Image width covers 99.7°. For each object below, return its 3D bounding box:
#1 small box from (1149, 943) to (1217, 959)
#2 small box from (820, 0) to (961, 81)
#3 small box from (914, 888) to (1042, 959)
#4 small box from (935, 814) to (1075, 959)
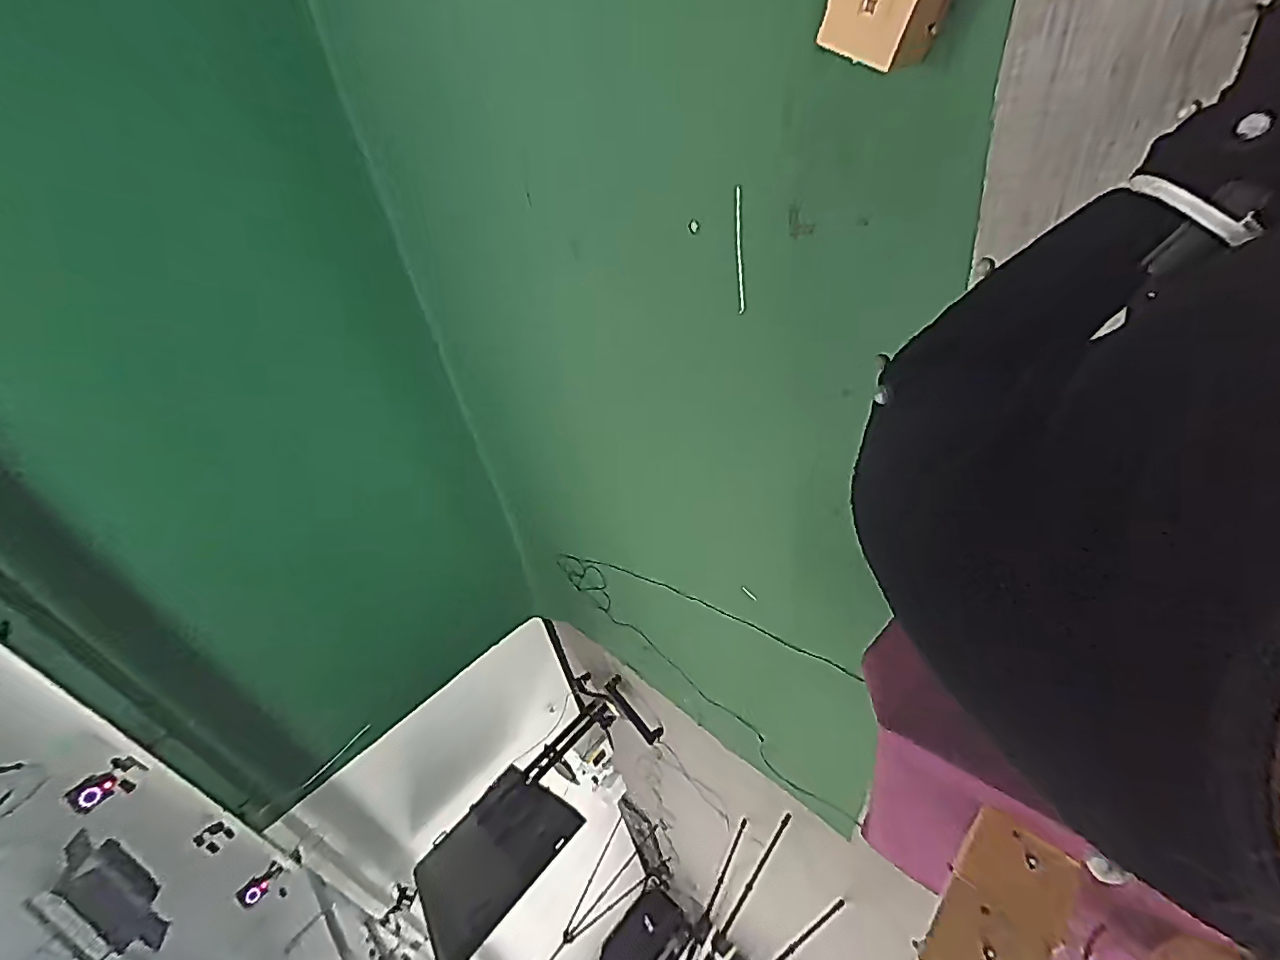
[{"bbox_3d":[0.929,0.899,0.853,0.179,0.176,0.168,24,137,38],"label":"small box"},{"bbox_3d":[0.504,-0.928,1.078,0.179,0.176,0.168,42,146,20],"label":"small box"},{"bbox_3d":[0.596,0.887,0.968,0.168,0.176,0.179,25,138,39],"label":"small box"},{"bbox_3d":[0.710,0.807,1.055,0.168,0.176,0.179,26,137,37],"label":"small box"}]
